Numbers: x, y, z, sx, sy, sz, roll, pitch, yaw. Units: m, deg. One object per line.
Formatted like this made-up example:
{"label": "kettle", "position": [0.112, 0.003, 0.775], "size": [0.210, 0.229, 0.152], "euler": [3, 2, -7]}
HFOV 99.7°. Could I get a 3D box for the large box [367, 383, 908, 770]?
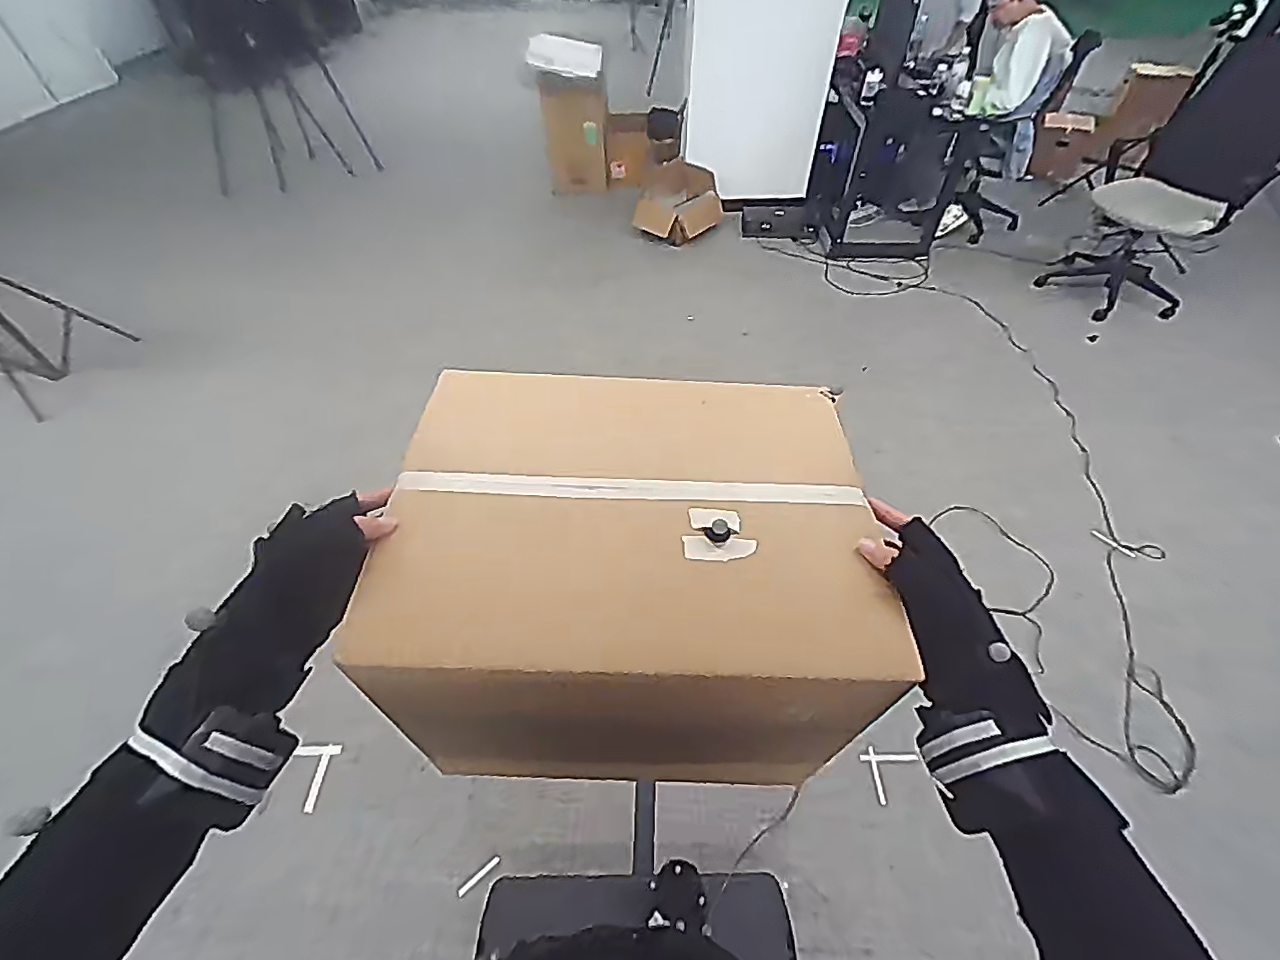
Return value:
{"label": "large box", "position": [-0.008, 0.114, 0.597], "size": [0.408, 0.320, 0.320], "euler": [3, 50, -2]}
